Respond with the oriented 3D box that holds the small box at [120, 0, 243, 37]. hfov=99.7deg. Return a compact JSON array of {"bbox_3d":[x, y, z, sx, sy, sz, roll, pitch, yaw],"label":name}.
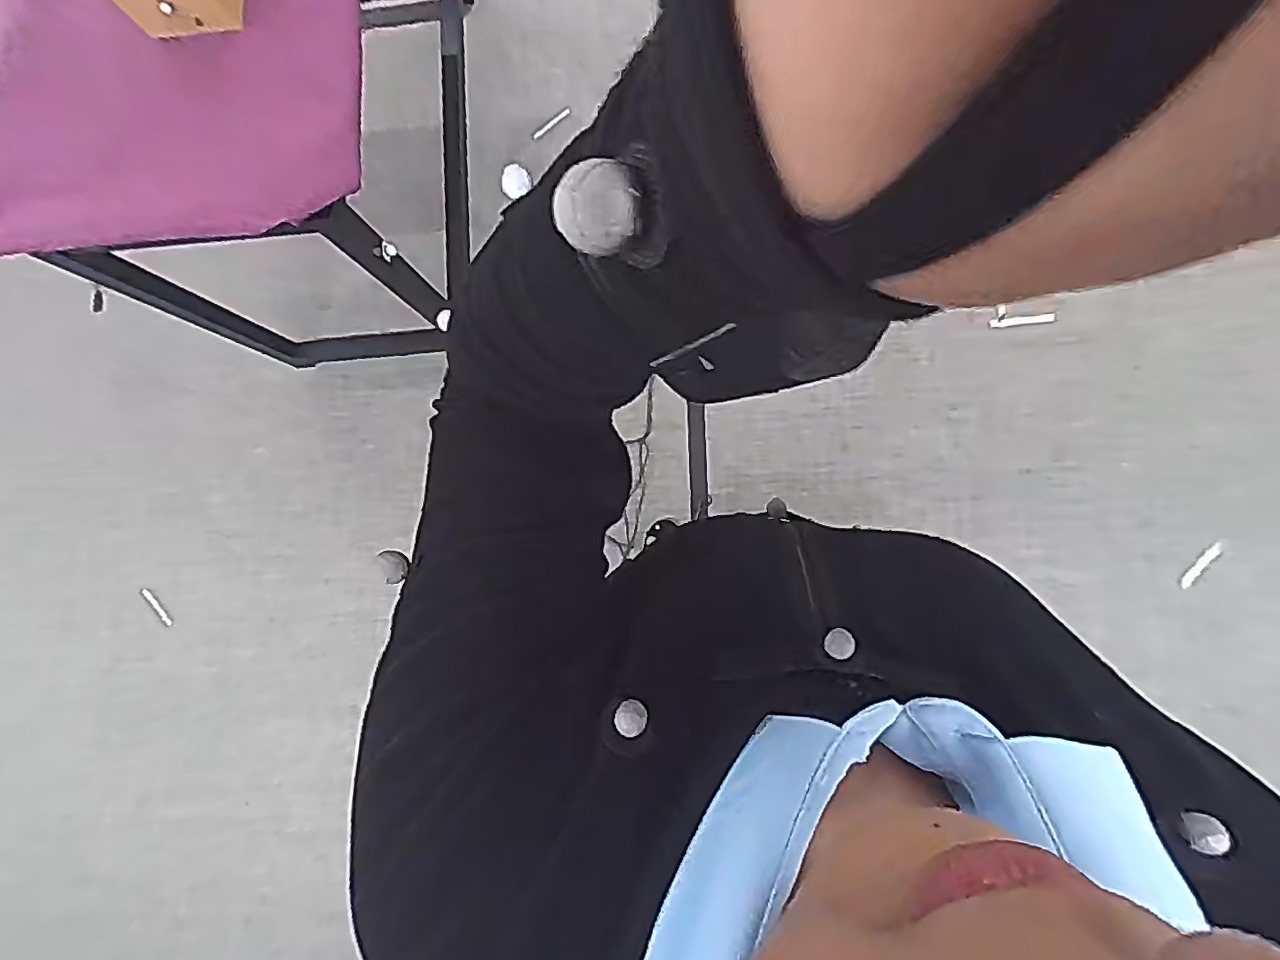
[{"bbox_3d":[-0.757,-0.849,0.844,0.168,0.176,0.179,-2,85,4],"label":"small box"}]
